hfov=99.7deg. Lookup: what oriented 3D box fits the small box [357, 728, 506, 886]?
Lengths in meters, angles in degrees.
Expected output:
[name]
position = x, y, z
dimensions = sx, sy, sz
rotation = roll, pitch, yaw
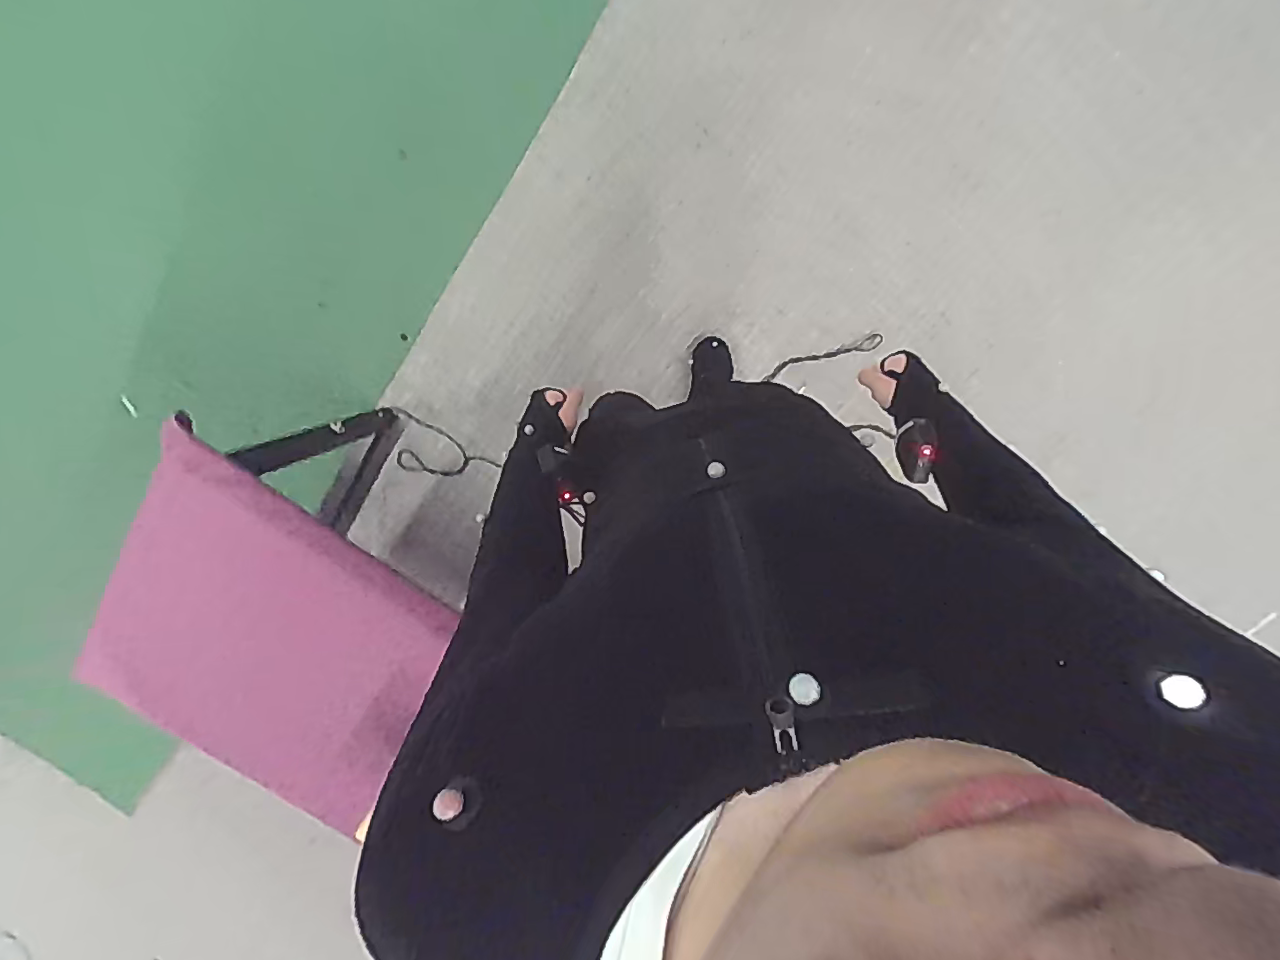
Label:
[small box]
position = -0.394, 0.618, 1.047
dimensions = 0.179, 0.176, 0.168
rotation = 37, 108, -5
